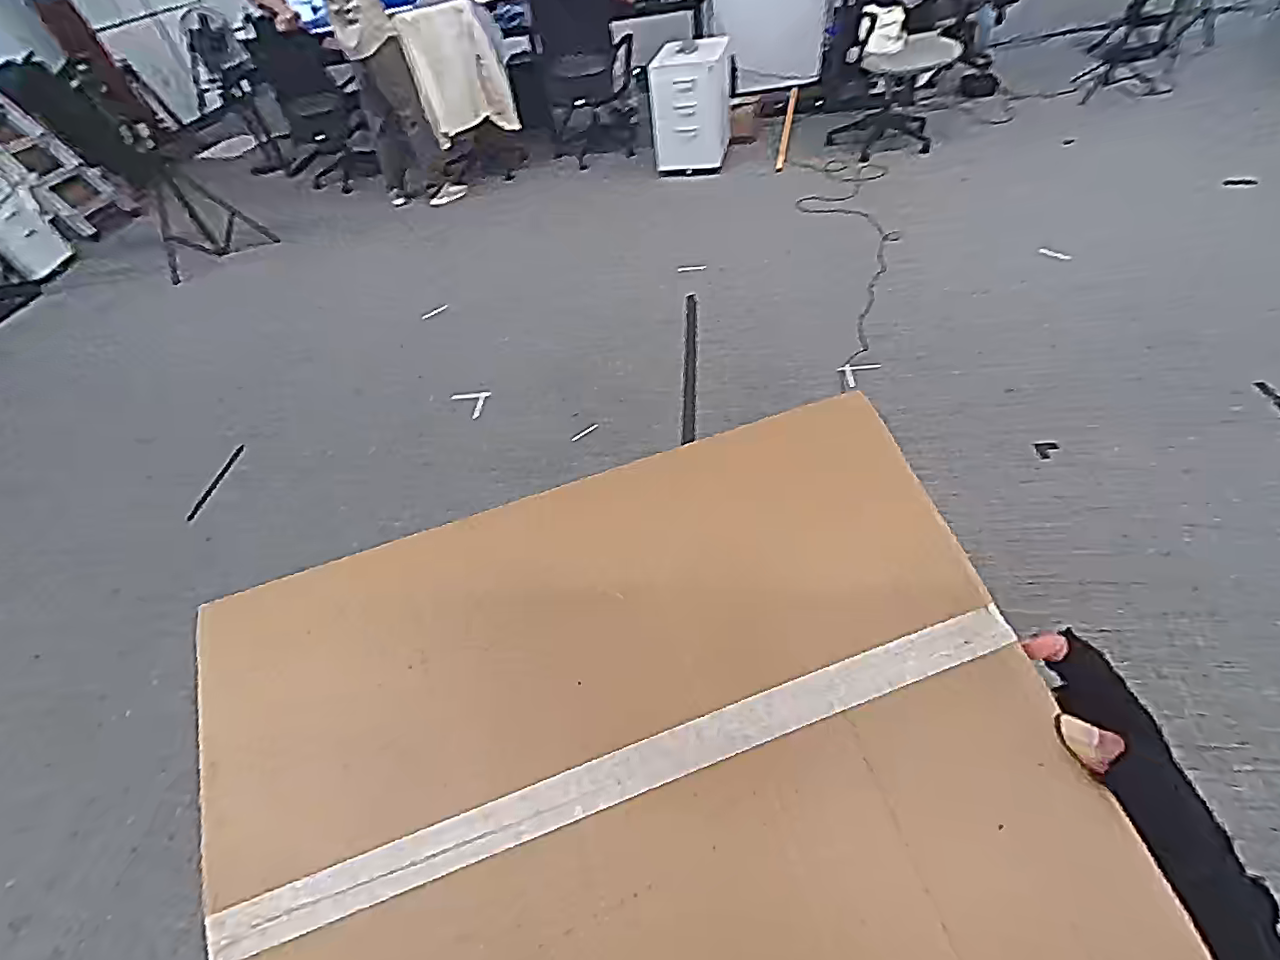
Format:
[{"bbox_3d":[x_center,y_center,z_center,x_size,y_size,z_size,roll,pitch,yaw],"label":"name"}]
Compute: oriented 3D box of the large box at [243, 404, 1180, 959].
[{"bbox_3d":[0.009,0.203,0.411,0.408,0.320,0.320,-18,68,-6],"label":"large box"}]
